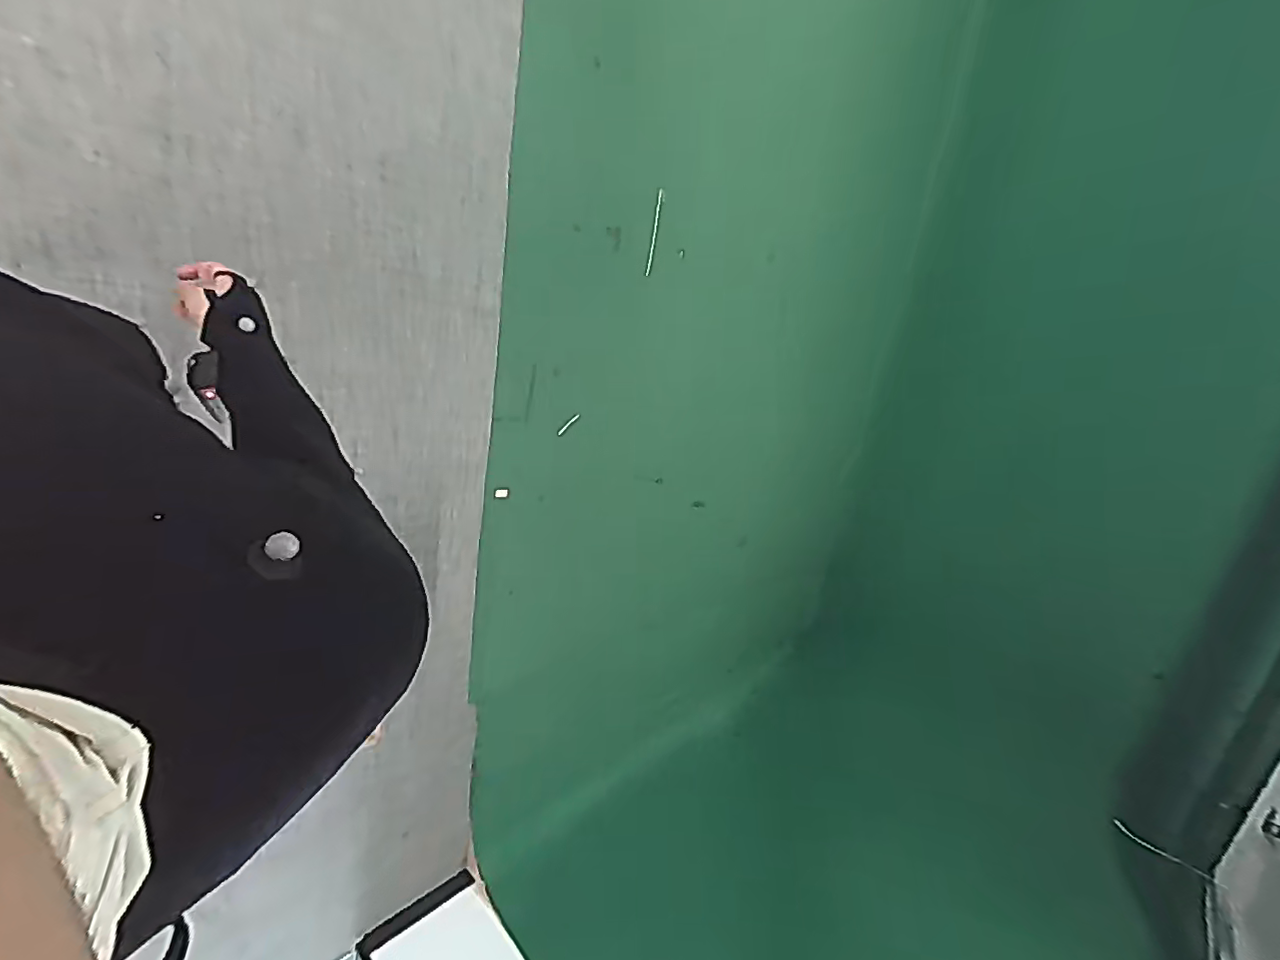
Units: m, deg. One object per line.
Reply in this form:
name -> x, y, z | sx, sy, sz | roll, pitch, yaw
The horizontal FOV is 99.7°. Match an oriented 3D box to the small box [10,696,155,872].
small box -> -0.973, 0.521, 0.956 | 0.168, 0.176, 0.179 | -5, 110, -45
